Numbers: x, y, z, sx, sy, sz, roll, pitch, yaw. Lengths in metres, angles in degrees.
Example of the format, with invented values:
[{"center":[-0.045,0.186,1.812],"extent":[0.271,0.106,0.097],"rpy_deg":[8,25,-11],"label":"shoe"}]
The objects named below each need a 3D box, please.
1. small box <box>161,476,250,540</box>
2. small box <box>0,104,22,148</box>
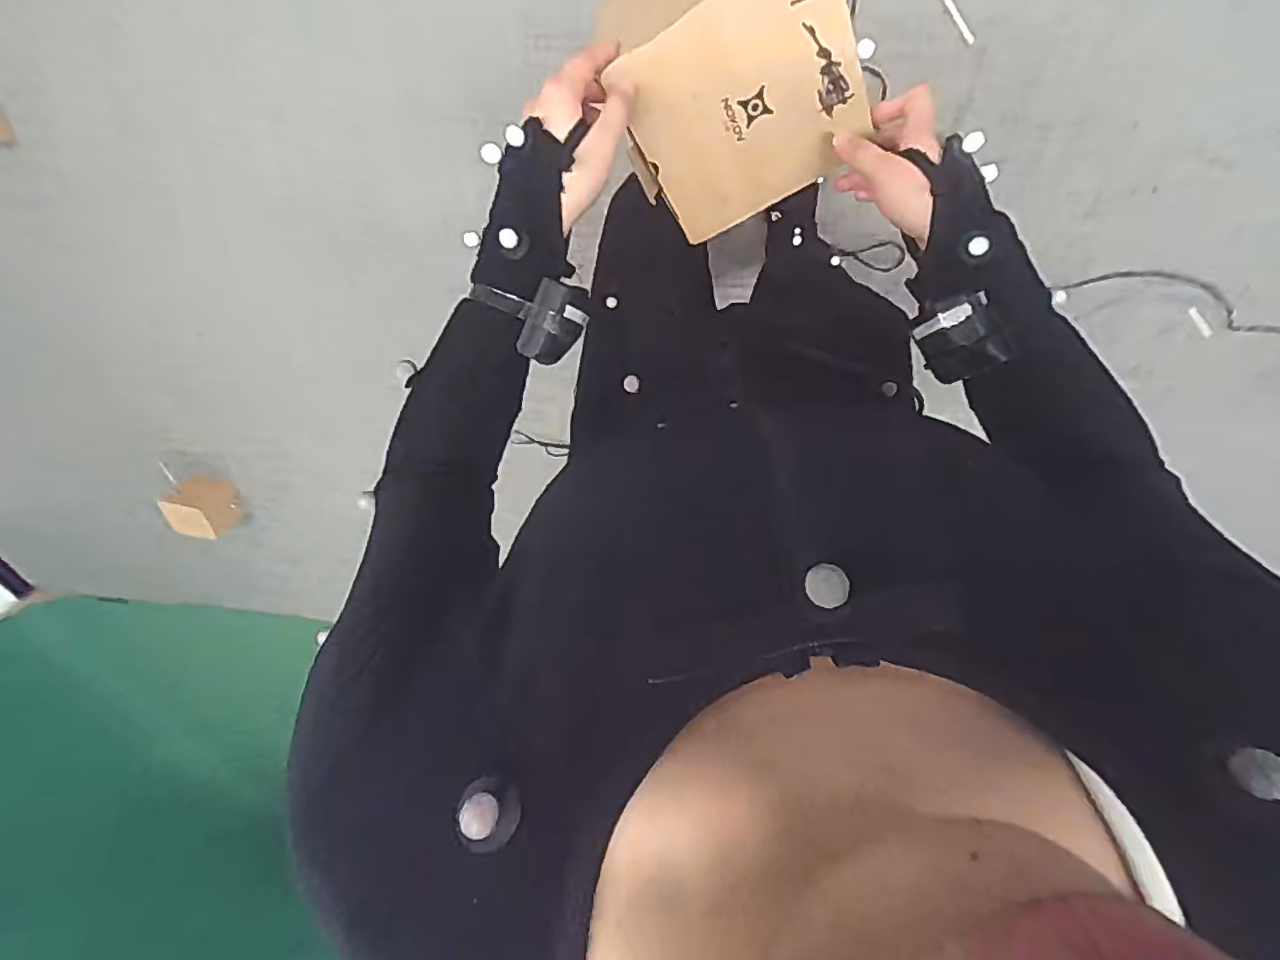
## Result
[{"center":[-1.659,0.104,2.077],"extent":[0.179,0.176,0.168],"rpy_deg":[9,129,4],"label":"small box"},{"center":[-1.690,-0.901,1.299],"extent":[0.168,0.176,0.179],"rpy_deg":[6,129,7],"label":"small box"}]
